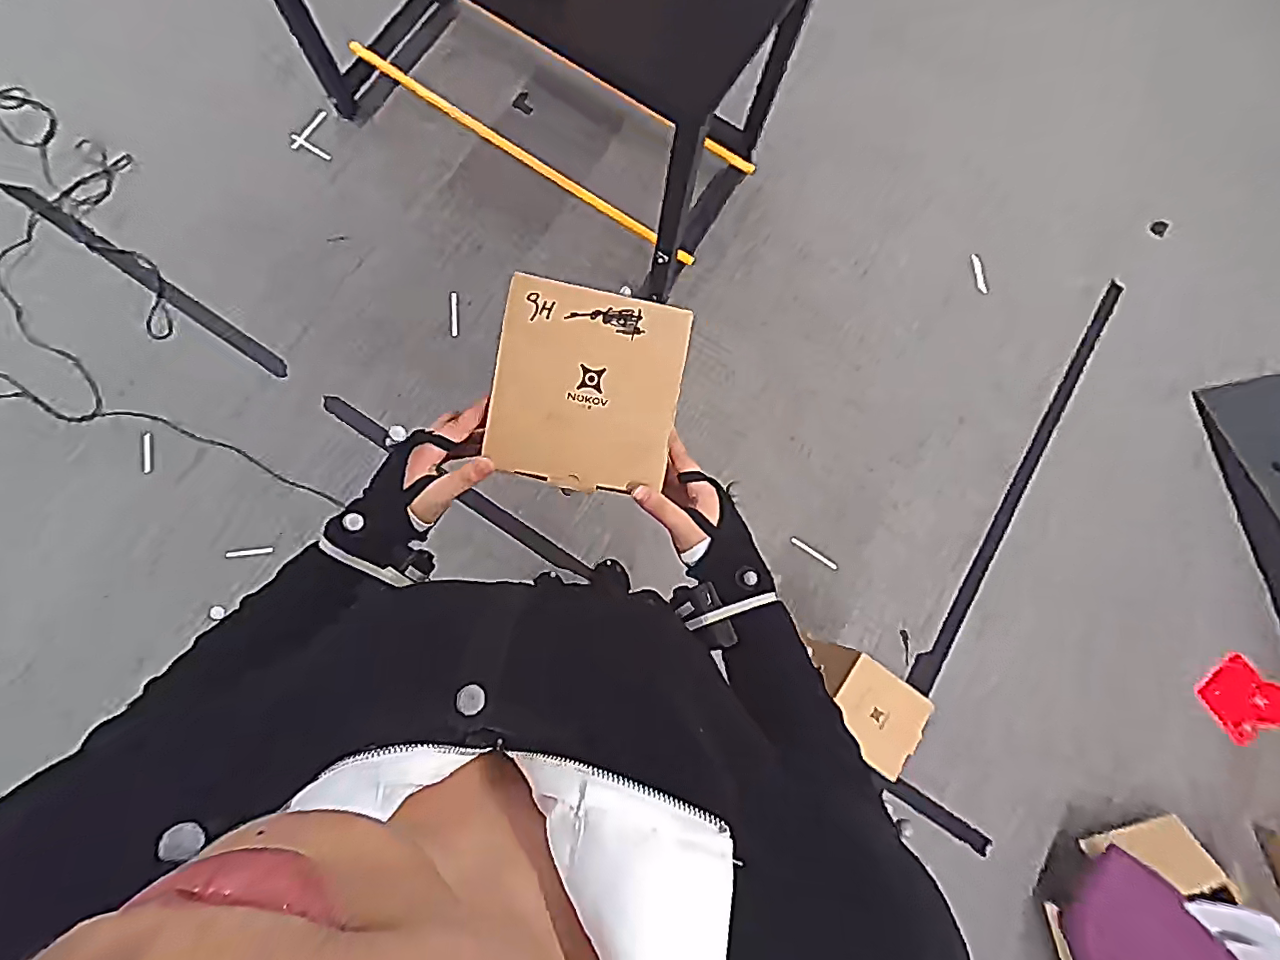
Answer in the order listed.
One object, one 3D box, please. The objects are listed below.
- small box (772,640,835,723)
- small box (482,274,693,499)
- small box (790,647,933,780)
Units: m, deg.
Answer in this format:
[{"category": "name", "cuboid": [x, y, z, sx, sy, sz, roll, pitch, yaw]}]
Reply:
[{"category": "small box", "cuboid": [0.441, 0.494, 1.264, 0.179, 0.176, 0.168, 36, 80, 3]}, {"category": "small box", "cuboid": [-0.055, -0.086, 0.560, 0.168, 0.176, 0.179, 9, 93, -8]}, {"category": "small box", "cuboid": [0.441, 0.461, 1.104, 0.179, 0.176, 0.168, 36, 79, 3]}]
